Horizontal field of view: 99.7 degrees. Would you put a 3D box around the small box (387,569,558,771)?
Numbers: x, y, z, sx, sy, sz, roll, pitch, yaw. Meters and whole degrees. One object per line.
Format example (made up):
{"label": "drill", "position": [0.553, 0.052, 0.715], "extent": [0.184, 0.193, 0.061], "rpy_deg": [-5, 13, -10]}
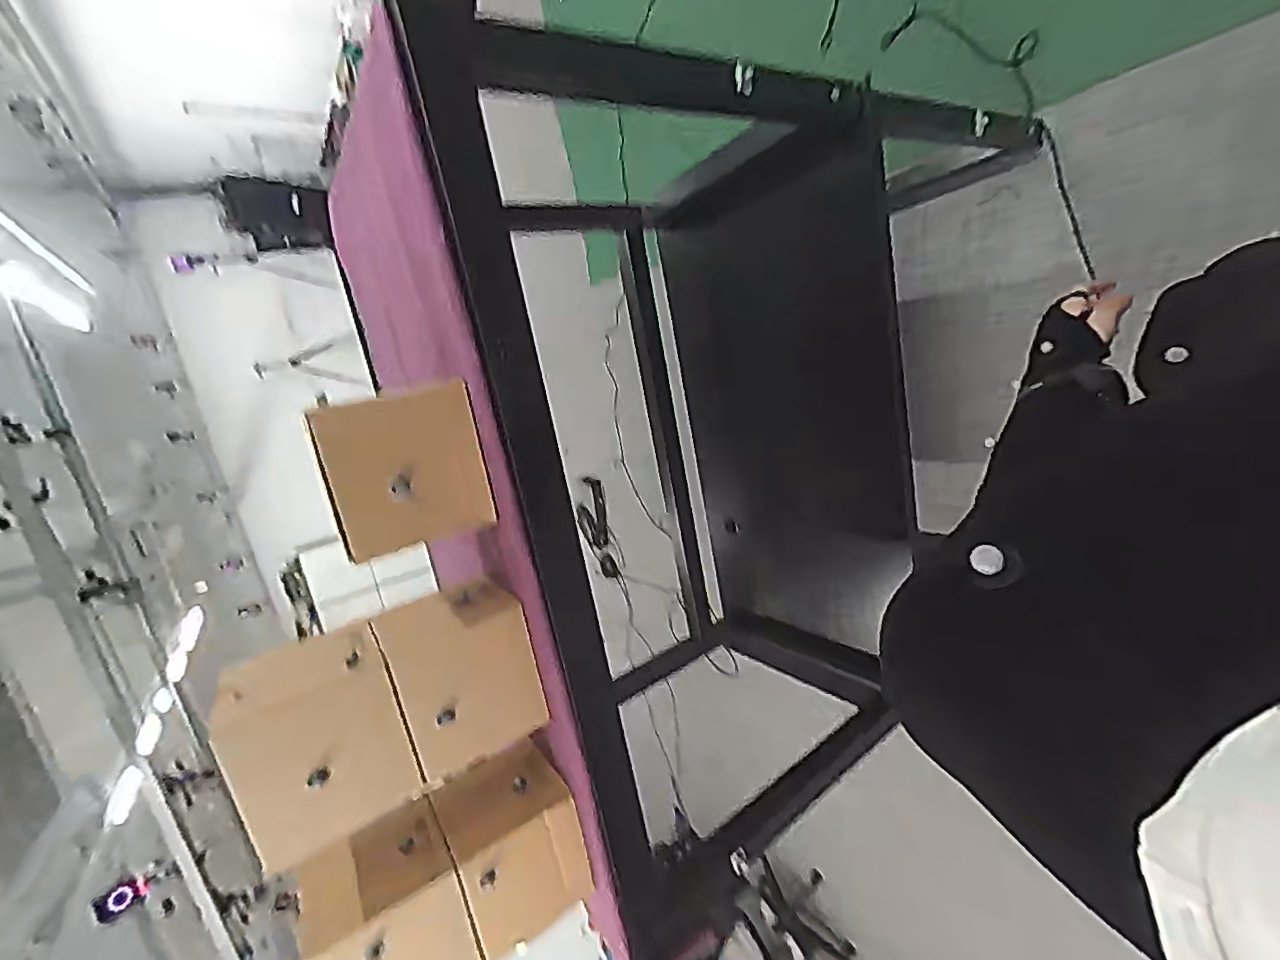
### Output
{"label": "small box", "position": [-0.230, 0.248, 0.750], "extent": [0.168, 0.176, 0.179], "rpy_deg": [11, 115, 56]}

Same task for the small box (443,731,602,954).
{"label": "small box", "position": [-0.171, 0.519, 0.802], "extent": [0.168, 0.176, 0.179], "rpy_deg": [10, 113, 57]}

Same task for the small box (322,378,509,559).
{"label": "small box", "position": [-0.284, -0.025, 0.692], "extent": [0.168, 0.176, 0.179], "rpy_deg": [12, 116, 56]}

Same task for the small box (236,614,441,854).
{"label": "small box", "position": [-0.365, 0.292, 0.668], "extent": [0.168, 0.176, 0.179], "rpy_deg": [11, 116, 57]}
